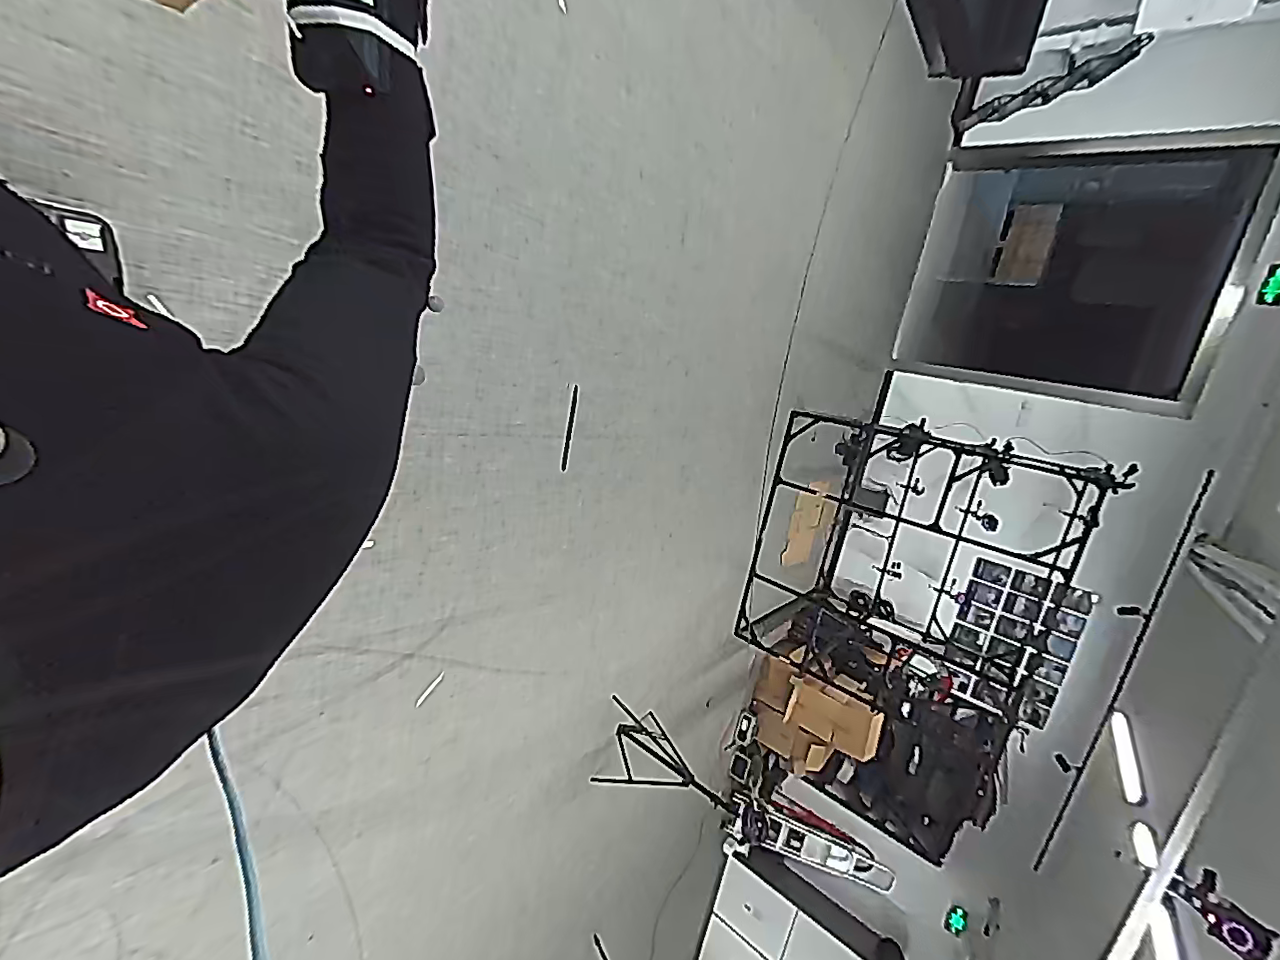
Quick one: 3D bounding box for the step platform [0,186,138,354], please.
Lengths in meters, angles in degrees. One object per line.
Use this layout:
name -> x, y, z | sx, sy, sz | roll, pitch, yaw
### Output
step platform -> -1.286, -0.386, 0.883 | 0.684, 0.204, 0.286 | -8, 113, -53
